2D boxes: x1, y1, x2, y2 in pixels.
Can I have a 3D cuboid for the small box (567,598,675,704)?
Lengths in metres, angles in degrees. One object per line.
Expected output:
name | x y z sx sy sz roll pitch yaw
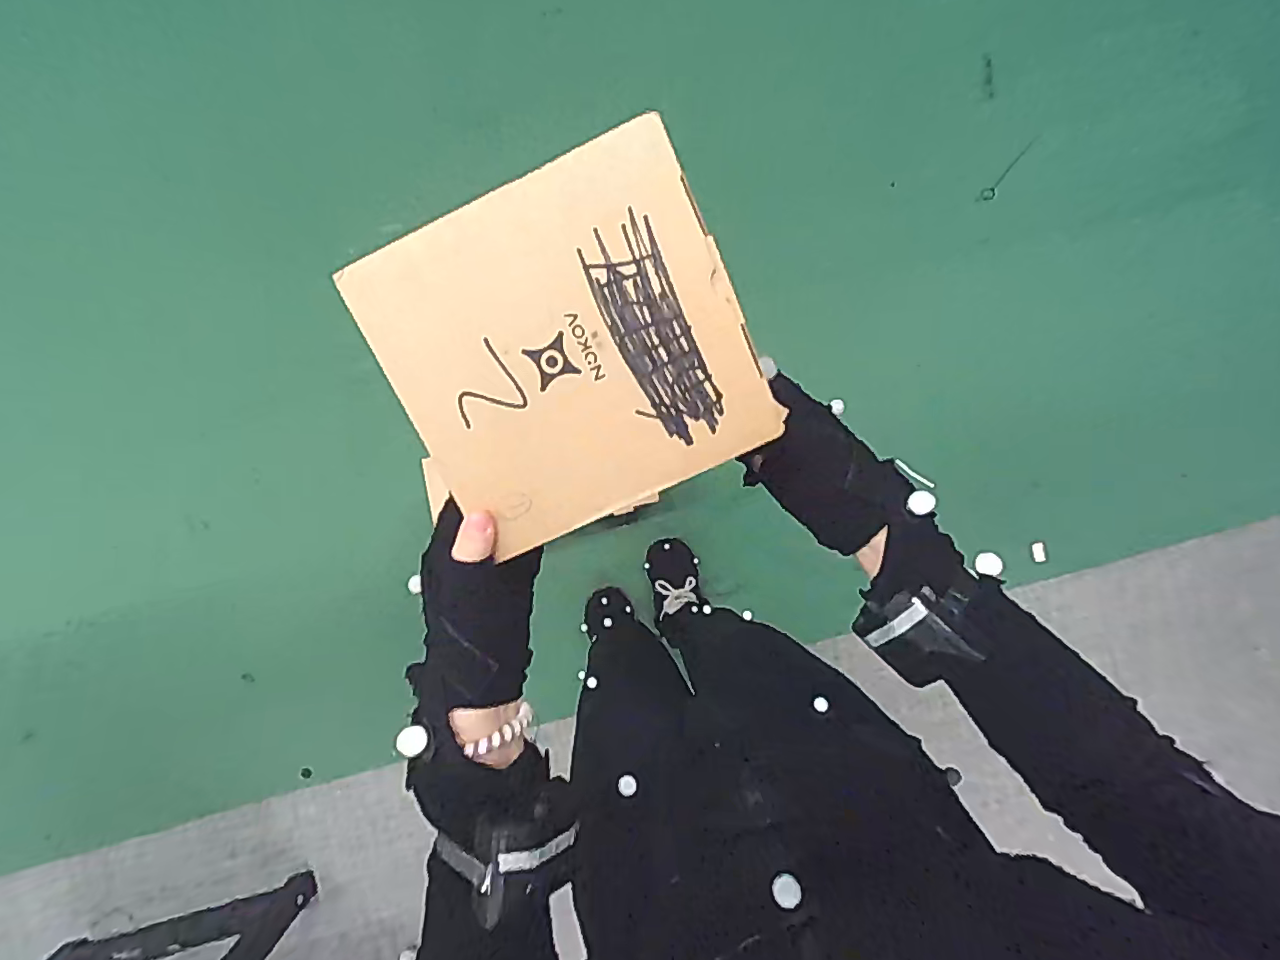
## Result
small box | -0.045 0.380 1.228 0.179 0.176 0.168 20 90 24
